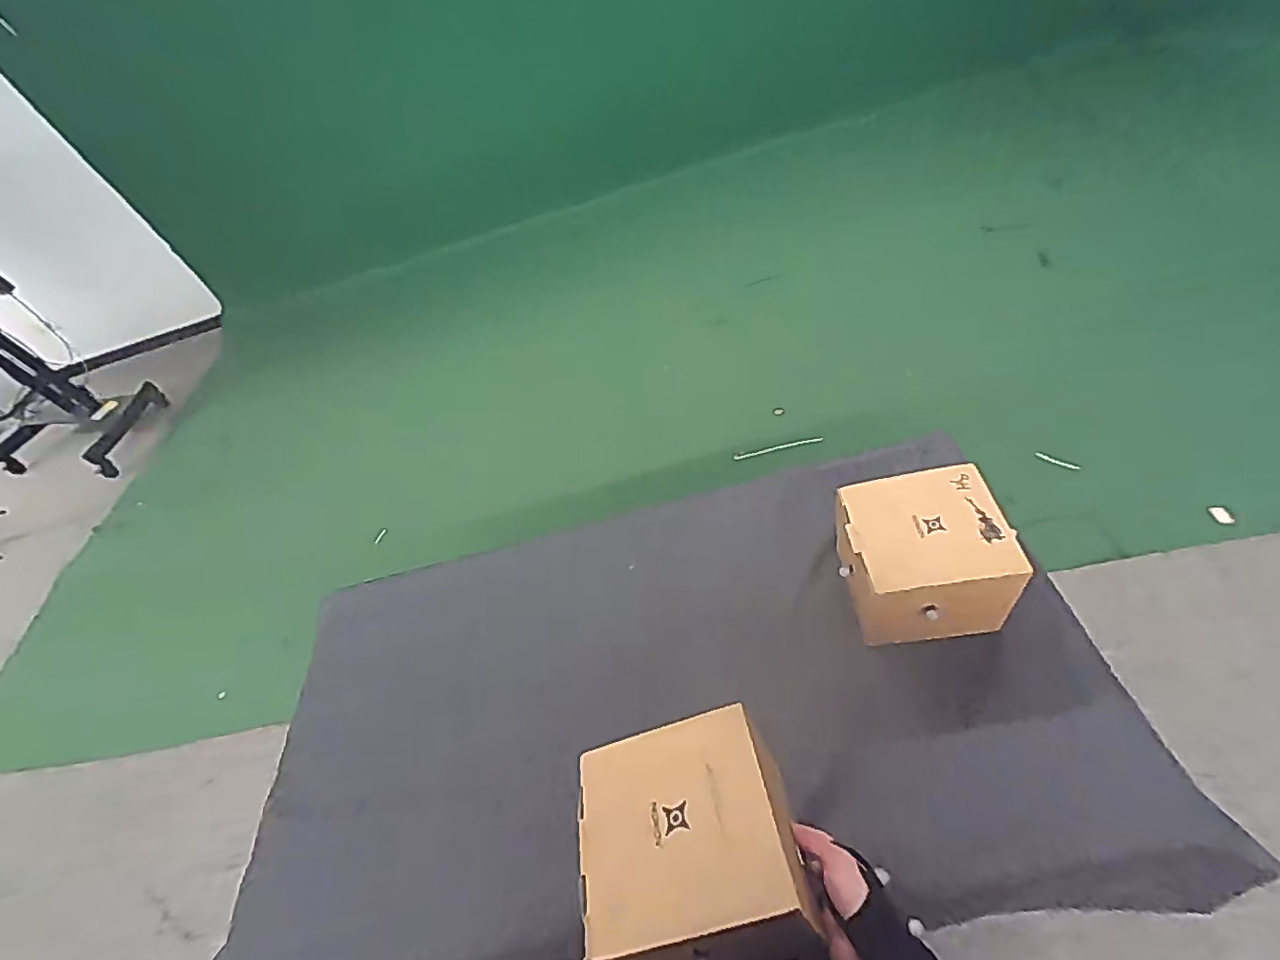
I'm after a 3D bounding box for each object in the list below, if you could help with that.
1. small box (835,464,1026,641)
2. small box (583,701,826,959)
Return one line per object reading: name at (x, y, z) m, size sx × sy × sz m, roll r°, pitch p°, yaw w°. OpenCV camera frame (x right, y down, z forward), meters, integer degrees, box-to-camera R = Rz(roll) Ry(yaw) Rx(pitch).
small box at (0.375, 0.106, 0.734) m, size 0.179 × 0.176 × 0.168 m, roll -11°, pitch 51°, yaw 12°
small box at (0.059, 0.351, 0.523) m, size 0.179 × 0.176 × 0.168 m, roll -20°, pitch 39°, yaw 6°
